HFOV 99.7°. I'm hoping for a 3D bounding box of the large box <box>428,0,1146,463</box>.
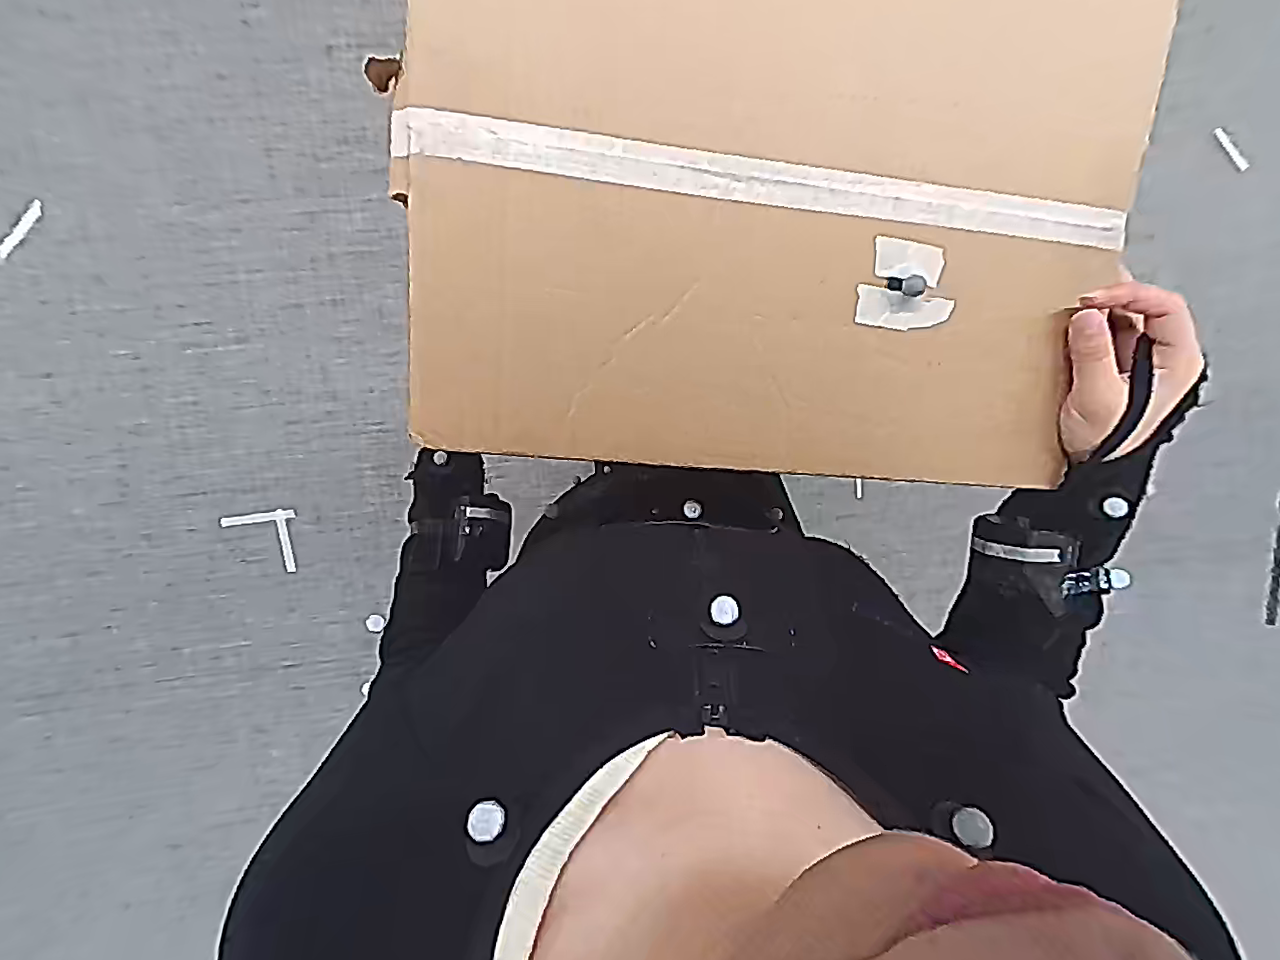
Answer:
[{"bbox_3d":[0.064,-0.196,0.447,0.408,0.320,0.320,3,102,-10],"label":"large box"}]
